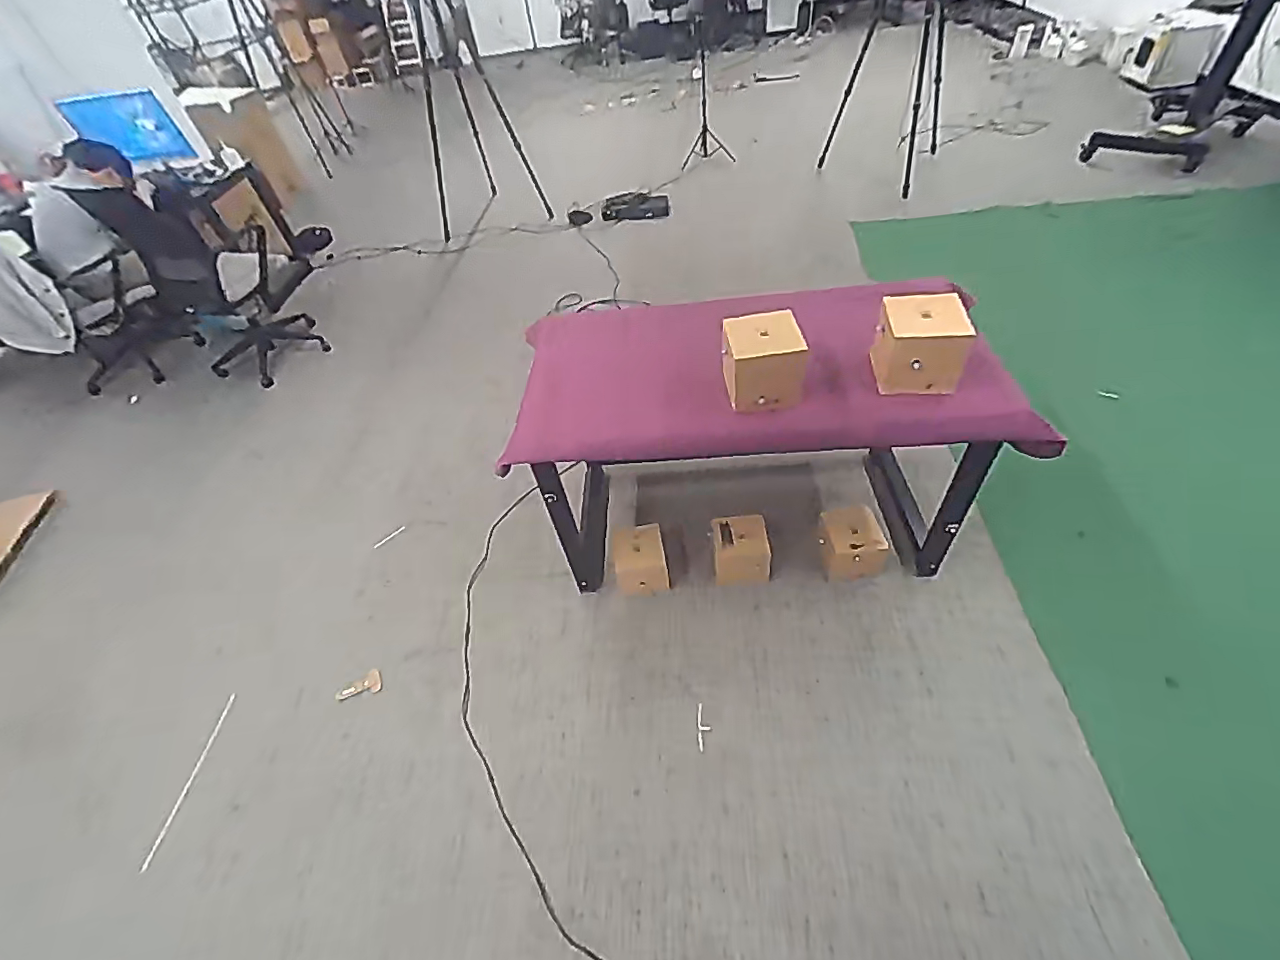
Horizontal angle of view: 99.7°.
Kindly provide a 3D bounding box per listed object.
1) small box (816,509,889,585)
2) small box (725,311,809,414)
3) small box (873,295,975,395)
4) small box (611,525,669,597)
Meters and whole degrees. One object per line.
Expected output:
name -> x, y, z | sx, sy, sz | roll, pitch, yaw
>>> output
small box -> 0.689, 0.221, 1.776 | 0.168, 0.176, 0.179 | -8, 47, 2
small box -> 0.298, -0.283, 1.310 | 0.168, 0.176, 0.179 | -7, 47, 4
small box -> 0.662, -0.314, 1.281 | 0.168, 0.176, 0.179 | 1, 47, 11
small box -> 0.001, 0.281, 1.830 | 0.168, 0.176, 0.179 | -9, 47, 0
